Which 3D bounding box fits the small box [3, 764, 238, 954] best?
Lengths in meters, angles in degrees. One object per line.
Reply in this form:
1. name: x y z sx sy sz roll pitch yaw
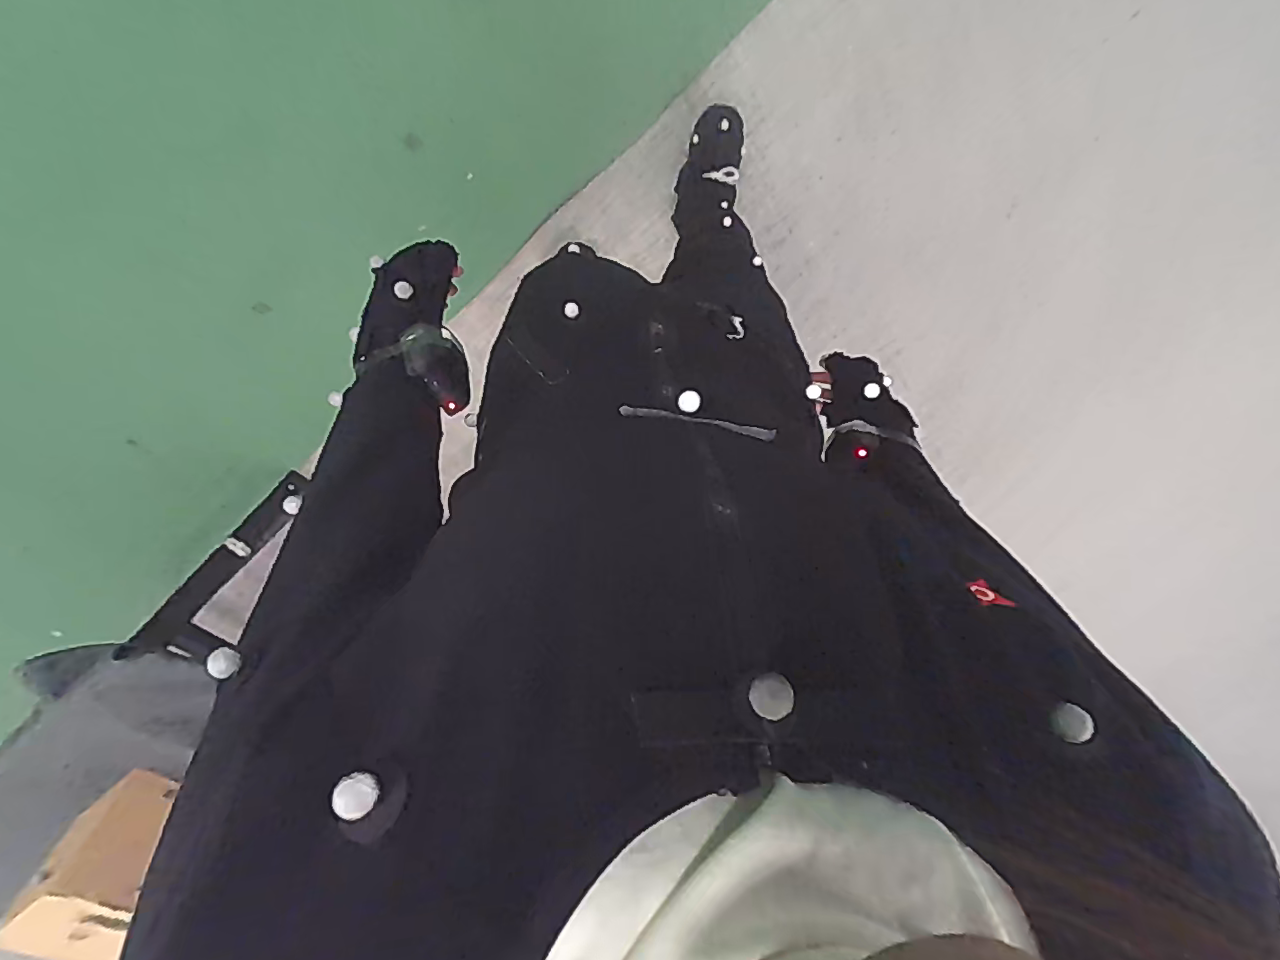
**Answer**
1. small box: -0.759 0.566 0.816 0.179 0.176 0.168 -37 118 15
